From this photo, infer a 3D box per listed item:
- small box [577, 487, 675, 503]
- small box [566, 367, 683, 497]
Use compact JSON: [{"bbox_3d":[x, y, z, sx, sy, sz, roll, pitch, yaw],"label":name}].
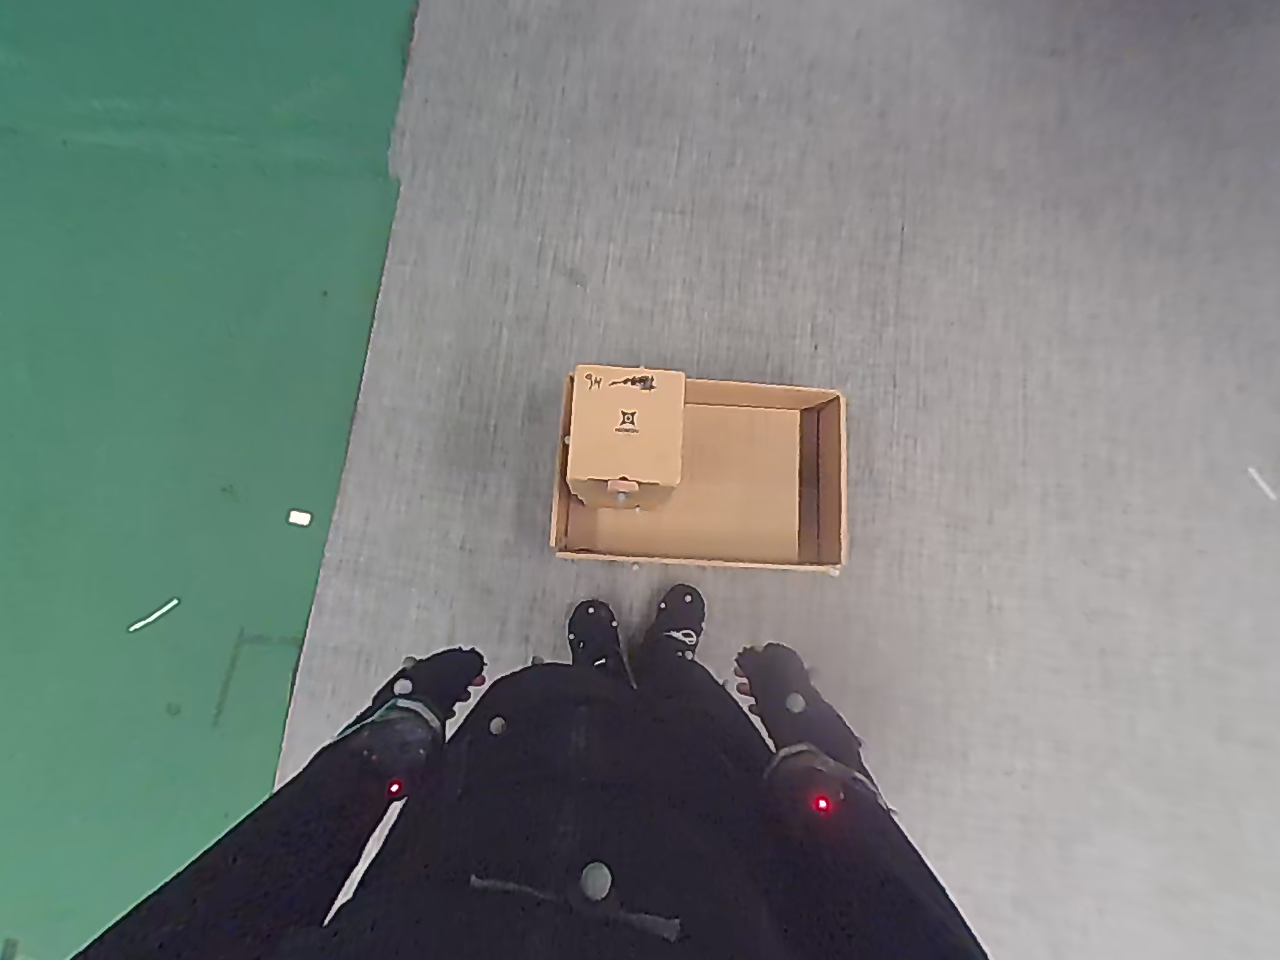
[{"bbox_3d":[-0.024,-0.048,1.041,0.179,0.176,0.168,4,81,-2],"label":"small box"},{"bbox_3d":[-0.024,-0.068,0.879,0.168,0.176,0.179,3,82,-2],"label":"small box"}]
